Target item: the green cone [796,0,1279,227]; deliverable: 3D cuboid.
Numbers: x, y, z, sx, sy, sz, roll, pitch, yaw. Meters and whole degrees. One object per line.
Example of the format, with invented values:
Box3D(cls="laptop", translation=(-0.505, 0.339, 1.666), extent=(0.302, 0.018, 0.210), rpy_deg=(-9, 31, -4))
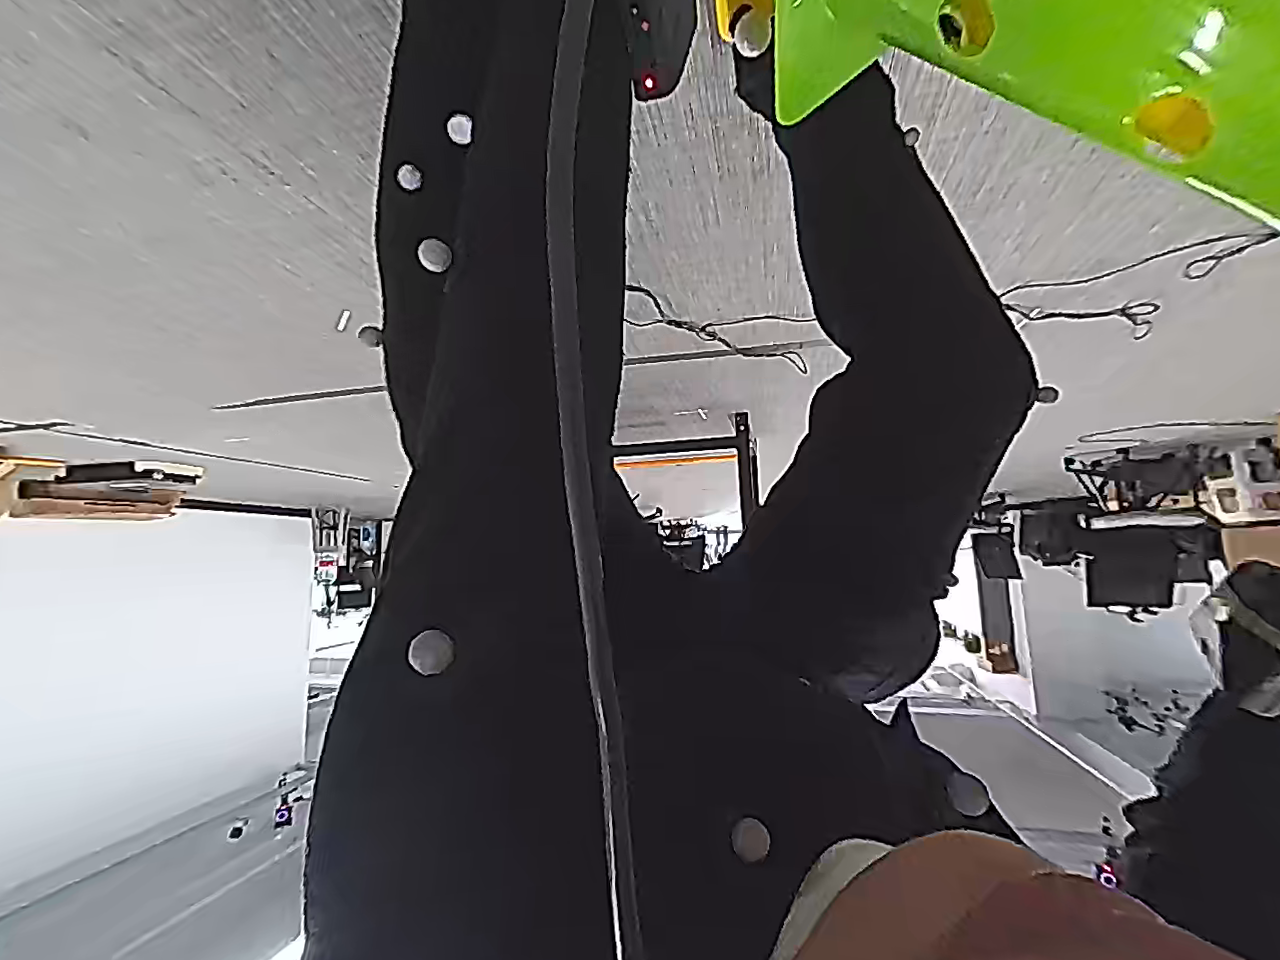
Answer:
Box3D(cls="green cone", translation=(0.255, -0.177, 0.215), extent=(0.202, 0.368, 0.200), rpy_deg=(-37, 163, 6))
